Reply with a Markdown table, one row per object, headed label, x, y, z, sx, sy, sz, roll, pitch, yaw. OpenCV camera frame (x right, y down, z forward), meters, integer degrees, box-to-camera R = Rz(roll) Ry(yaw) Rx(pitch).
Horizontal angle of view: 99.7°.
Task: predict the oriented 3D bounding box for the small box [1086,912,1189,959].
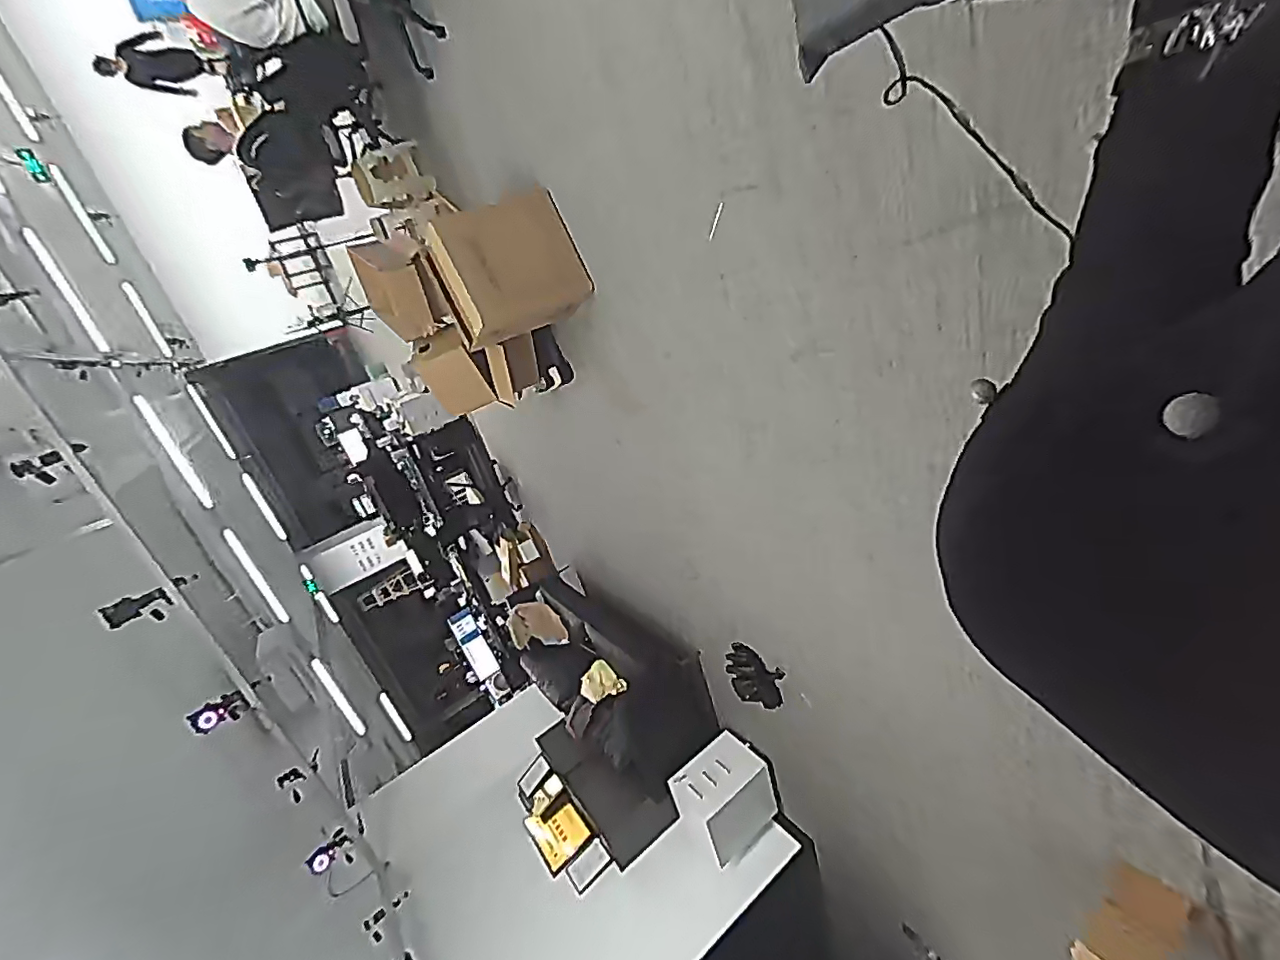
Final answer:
| label | x | y | z | sx | sy | sz | roll | pitch | yaw |
| --- | --- | --- | --- | --- | --- | --- | --- | --- | --- |
| small box | 1.449 | 1.420 | 1.581 | 0.179 | 0.176 | 0.168 | 22 | 135 | 53 |

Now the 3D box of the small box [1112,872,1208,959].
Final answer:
| label | x | y | z | sx | sy | sz | roll | pitch | yaw |
| --- | --- | --- | --- | --- | --- | --- | --- | --- | --- |
| small box | 1.580 | 1.351 | 1.650 | 0.179 | 0.176 | 0.168 | 17 | 131 | 53 |
